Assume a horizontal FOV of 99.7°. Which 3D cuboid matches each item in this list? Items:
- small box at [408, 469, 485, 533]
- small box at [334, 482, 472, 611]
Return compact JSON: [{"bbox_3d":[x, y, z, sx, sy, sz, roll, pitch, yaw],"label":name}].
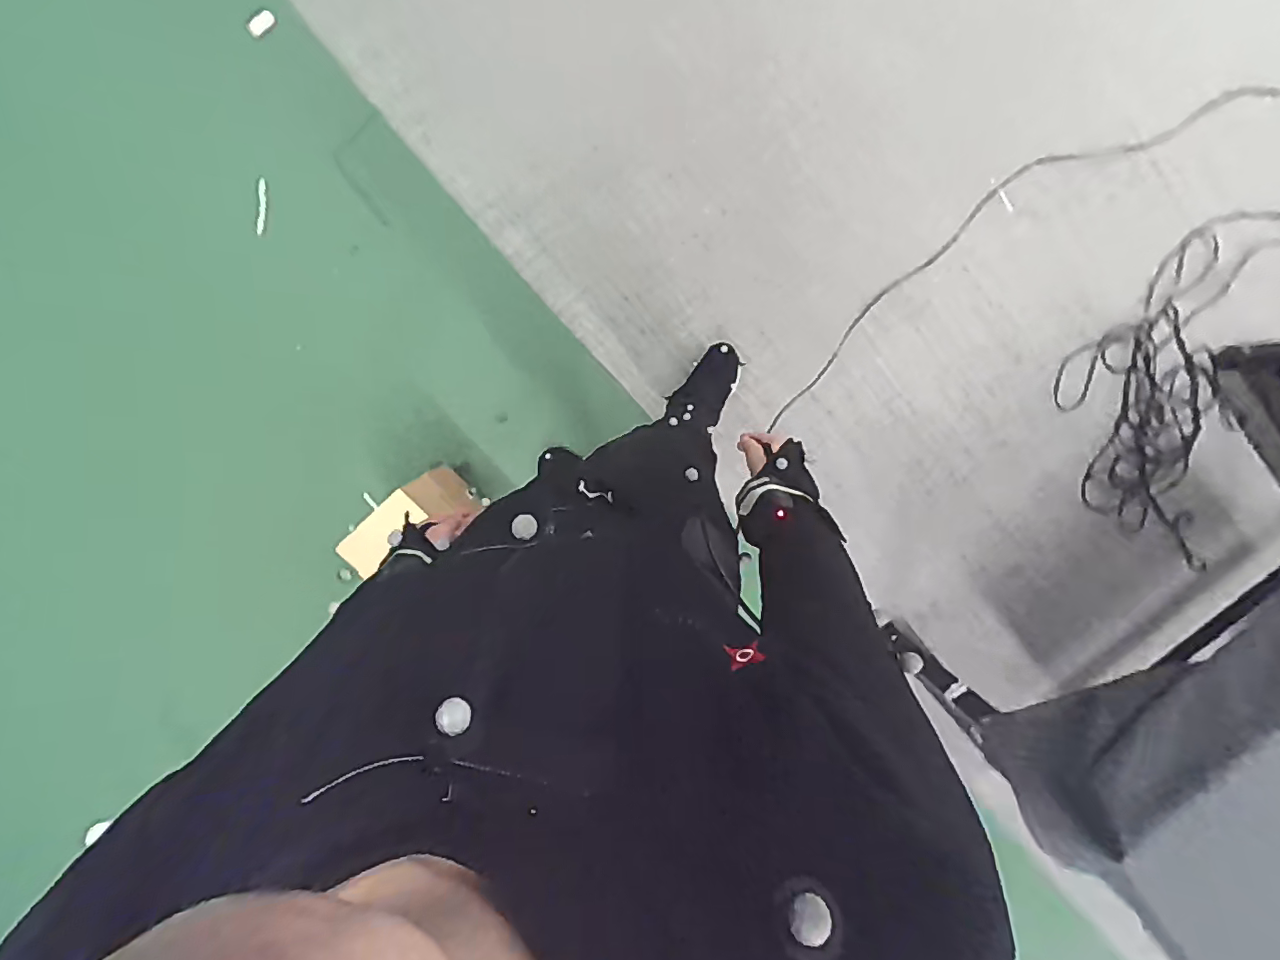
[{"bbox_3d":[-0.487,0.095,1.260,0.179,0.176,0.168,-43,100,2],"label":"small box"},{"bbox_3d":[-0.466,0.124,1.101,0.179,0.176,0.168,-43,100,4],"label":"small box"}]
